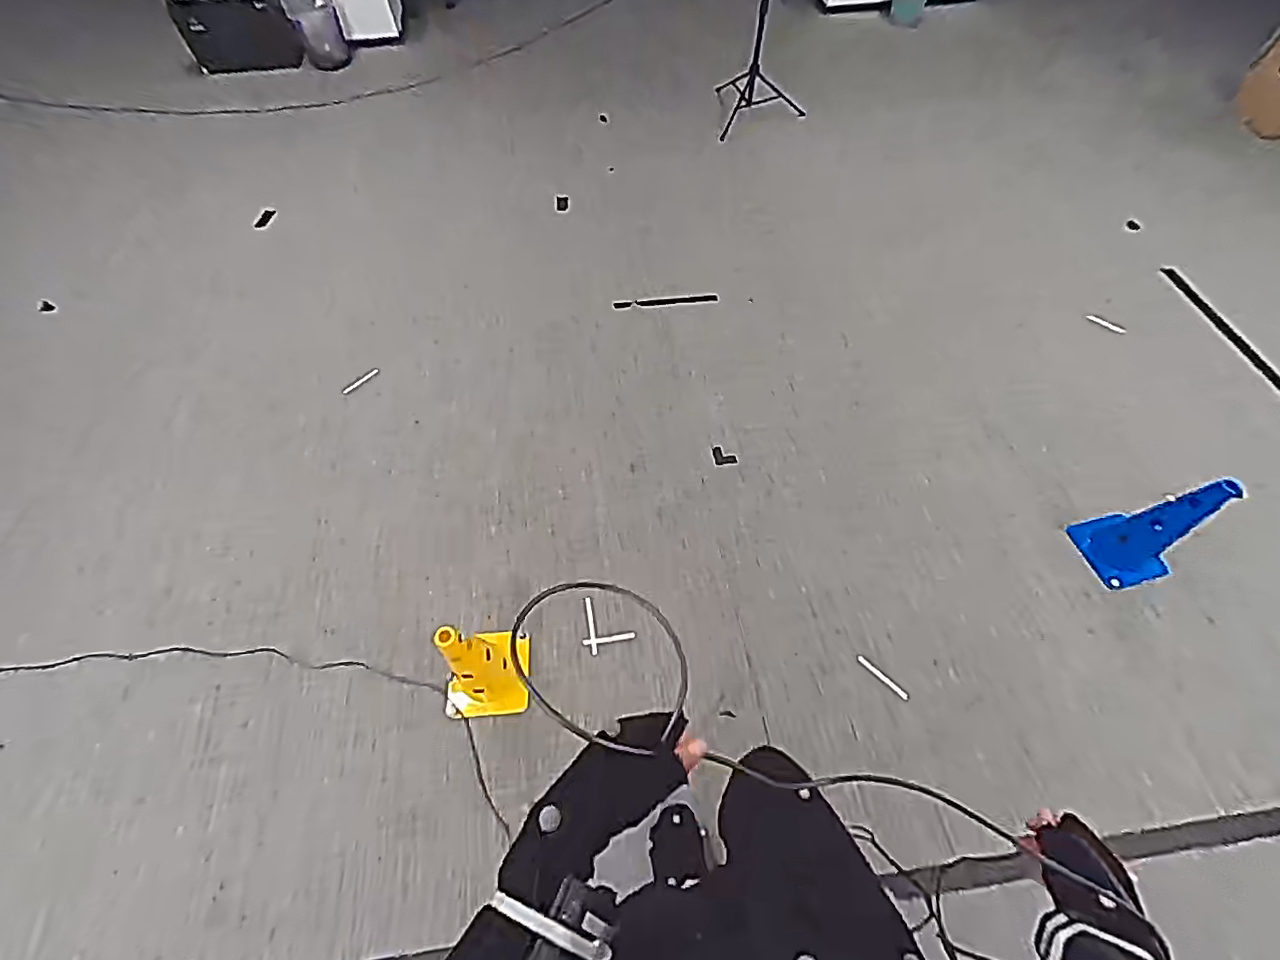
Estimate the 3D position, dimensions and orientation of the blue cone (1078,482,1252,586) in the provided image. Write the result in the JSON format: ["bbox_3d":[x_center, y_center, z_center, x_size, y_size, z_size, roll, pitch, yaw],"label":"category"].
[{"bbox_3d":[1.346,0.107,1.368,0.193,0.380,0.192,-12,60,-6],"label":"blue cone"}]
